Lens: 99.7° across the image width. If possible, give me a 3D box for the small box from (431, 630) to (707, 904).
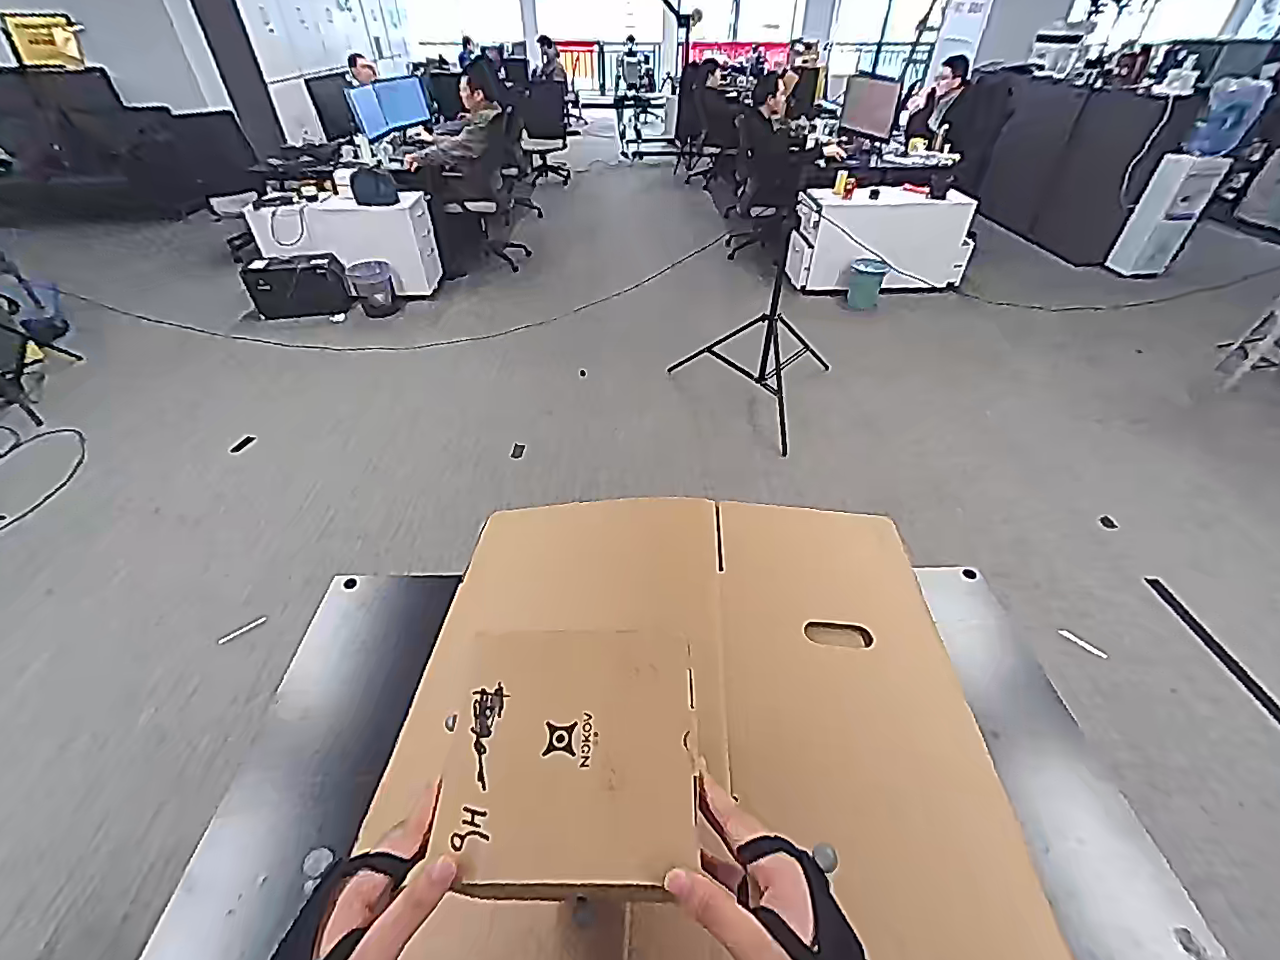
[{"bbox_3d":[-0.044,0.239,0.449,0.179,0.176,0.168,0,48,1],"label":"small box"}]
